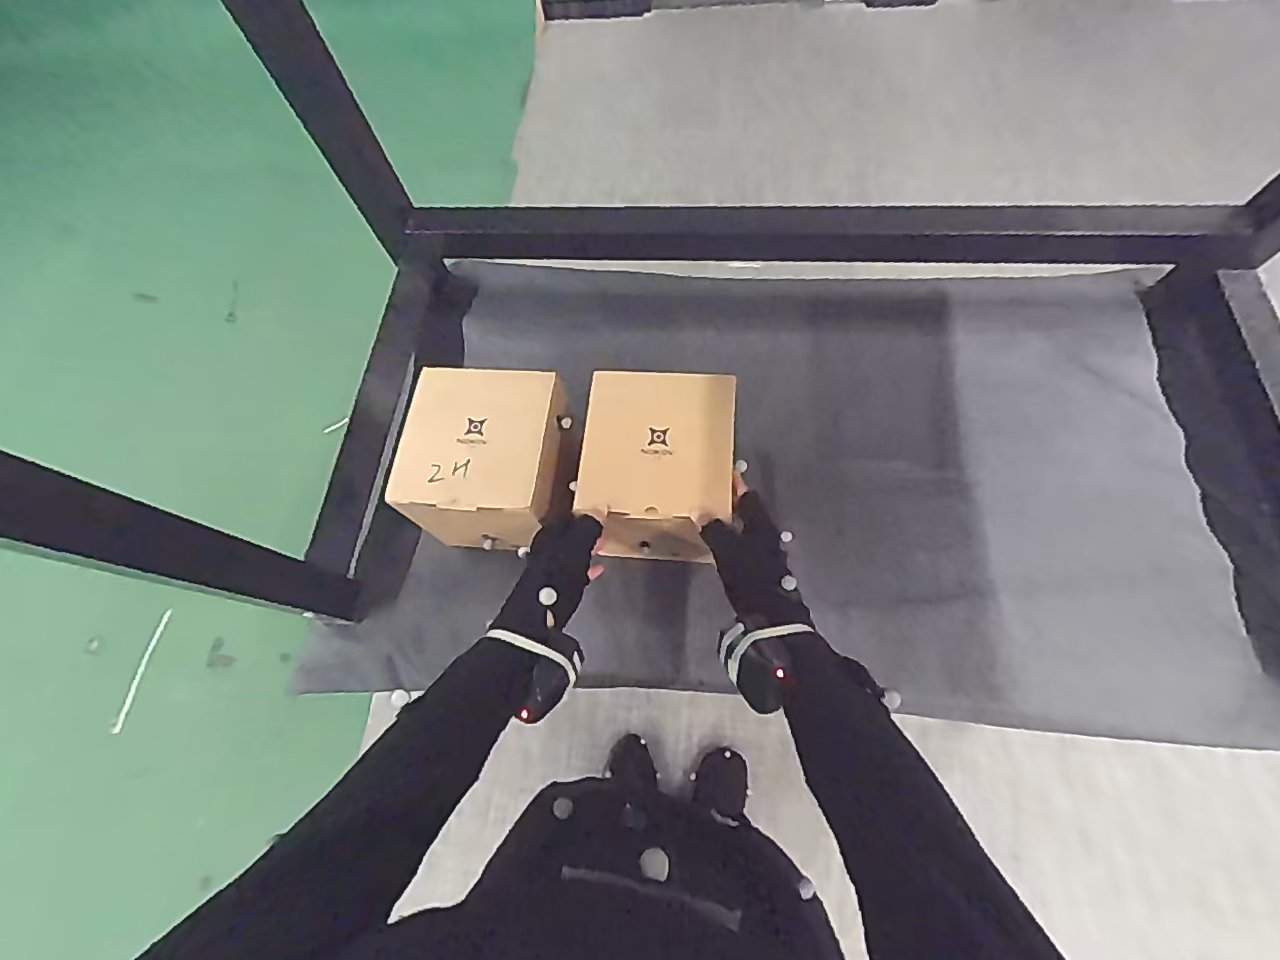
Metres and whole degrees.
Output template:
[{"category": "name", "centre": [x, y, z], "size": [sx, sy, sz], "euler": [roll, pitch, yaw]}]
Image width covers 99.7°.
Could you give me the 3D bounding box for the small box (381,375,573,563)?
[{"category": "small box", "centre": [-0.186, -0.009, 0.680], "size": [0.168, 0.176, 0.179], "euler": [4, 66, 6]}]

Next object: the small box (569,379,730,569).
[{"category": "small box", "centre": [0.019, -0.002, 0.663], "size": [0.168, 0.176, 0.179], "euler": [3, 66, 6]}]
